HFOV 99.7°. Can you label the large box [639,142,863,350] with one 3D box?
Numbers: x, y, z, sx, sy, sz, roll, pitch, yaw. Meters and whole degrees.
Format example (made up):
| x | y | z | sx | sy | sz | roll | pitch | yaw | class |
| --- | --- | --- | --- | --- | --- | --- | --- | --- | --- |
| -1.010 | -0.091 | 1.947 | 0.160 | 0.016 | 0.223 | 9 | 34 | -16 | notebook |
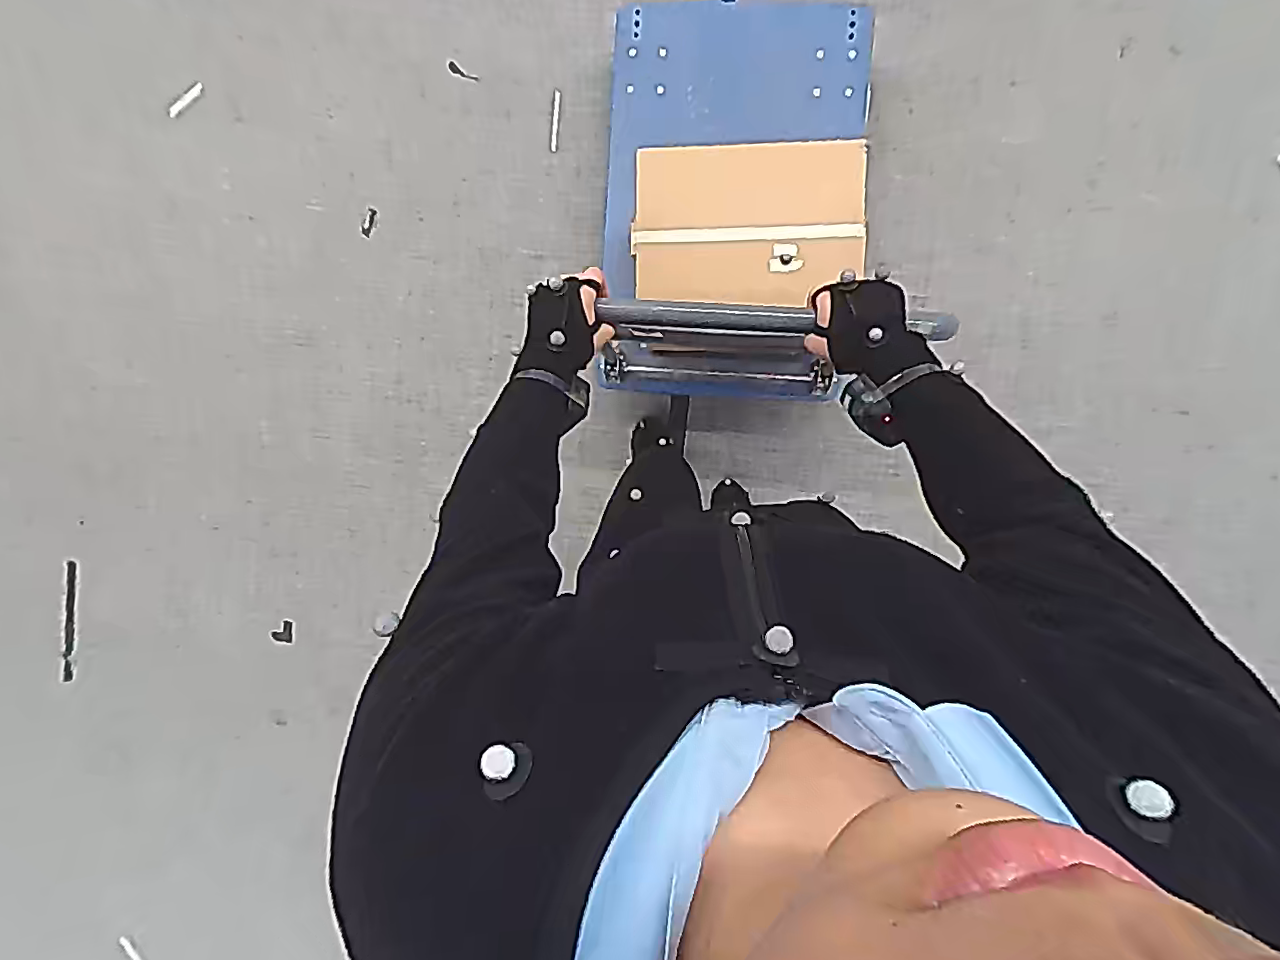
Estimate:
| x | y | z | sx | sy | sz | roll | pitch | yaw | class |
| --- | --- | --- | --- | --- | --- | --- | --- | --- | --- |
| 0.207 | -0.455 | 1.128 | 0.408 | 0.320 | 0.320 | 1 | 95 | 4 | large box |
